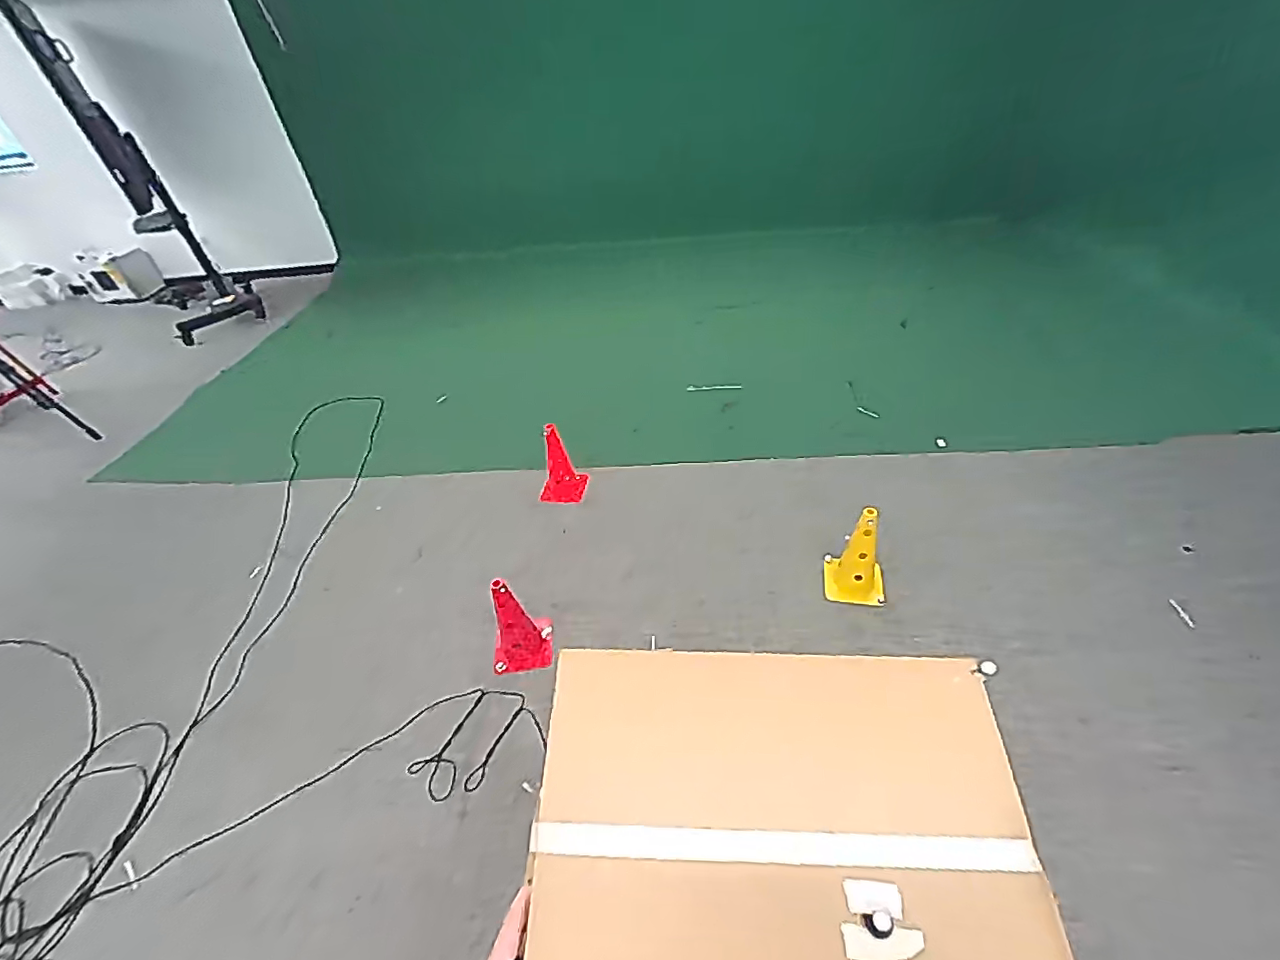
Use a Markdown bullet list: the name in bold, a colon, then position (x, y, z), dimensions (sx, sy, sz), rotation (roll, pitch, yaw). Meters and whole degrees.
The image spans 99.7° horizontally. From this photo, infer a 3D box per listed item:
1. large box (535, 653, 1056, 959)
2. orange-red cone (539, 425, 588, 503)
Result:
- **large box**: position (0.120, 0.386, 0.577), dimensions (0.408, 0.320, 0.320), rotation (0, 57, 2)
- **orange-red cone**: position (-0.376, -0.090, 2.412), dimensions (0.199, 0.360, 0.198), rotation (2, 41, 12)
